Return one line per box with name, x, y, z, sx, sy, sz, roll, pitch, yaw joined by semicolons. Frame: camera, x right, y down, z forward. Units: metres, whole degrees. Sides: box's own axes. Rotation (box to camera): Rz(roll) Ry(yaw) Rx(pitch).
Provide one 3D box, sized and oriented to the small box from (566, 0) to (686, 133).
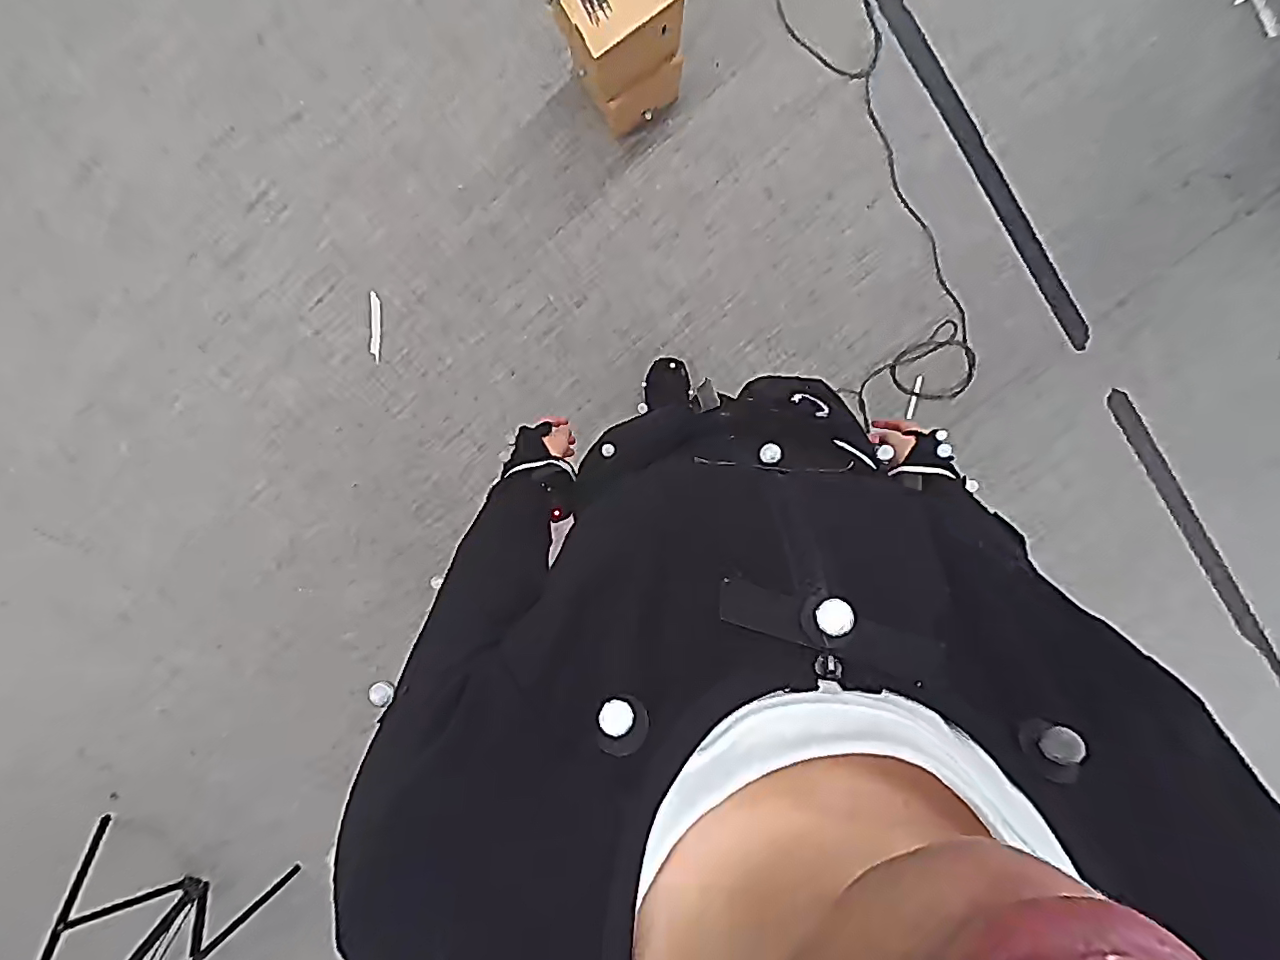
small box;-0.026;-0.845;1.078;0.168;0.176;0.179;-31;103;8
